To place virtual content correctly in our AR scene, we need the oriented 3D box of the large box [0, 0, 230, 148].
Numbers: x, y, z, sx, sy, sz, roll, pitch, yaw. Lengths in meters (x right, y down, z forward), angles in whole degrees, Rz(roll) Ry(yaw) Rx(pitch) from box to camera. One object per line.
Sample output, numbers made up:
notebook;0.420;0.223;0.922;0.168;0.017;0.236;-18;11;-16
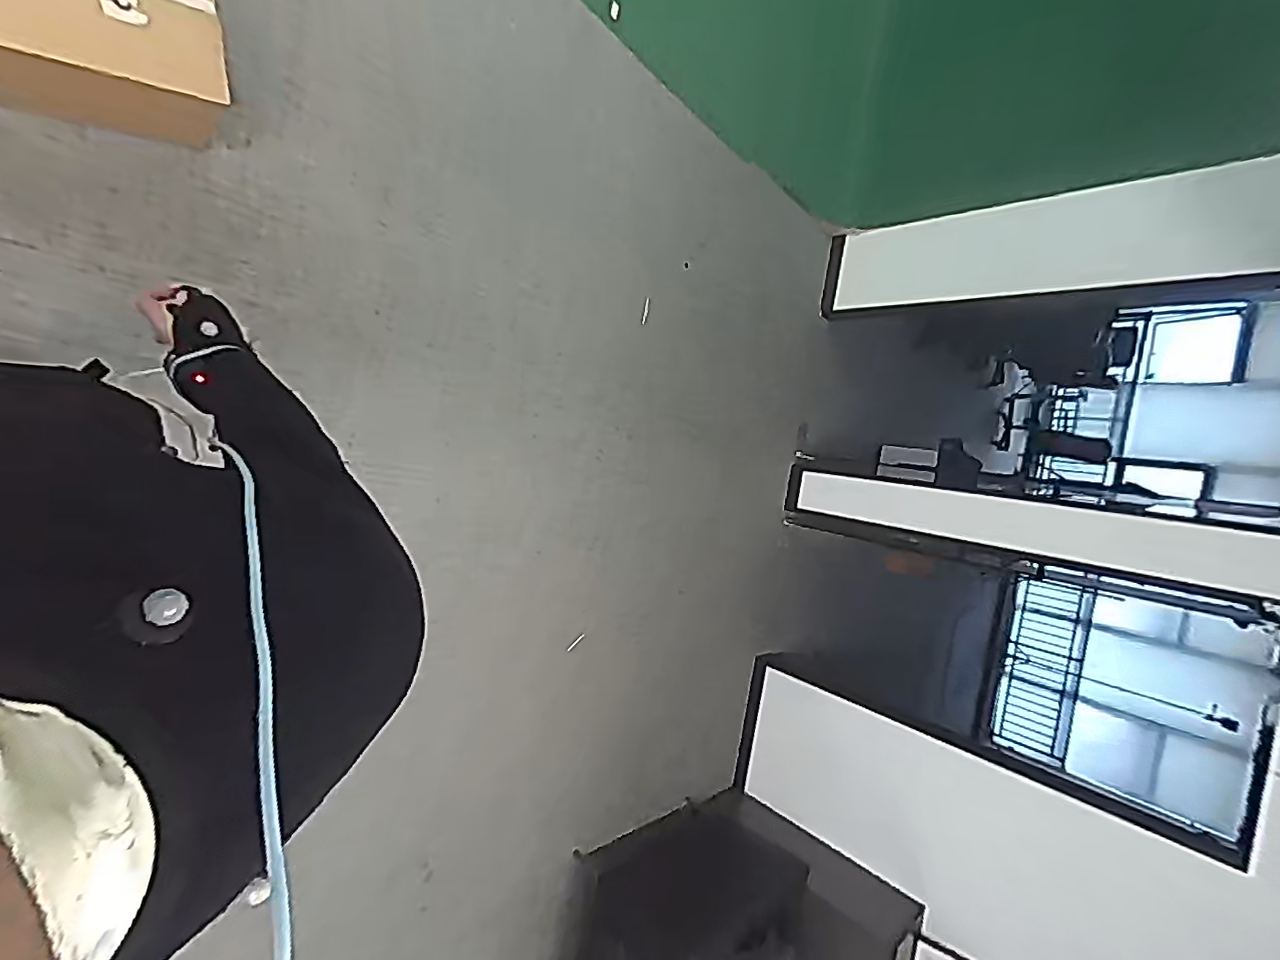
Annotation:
large box;-1.031;-0.853;0.967;0.408;0.320;0.320;-12;106;-44
